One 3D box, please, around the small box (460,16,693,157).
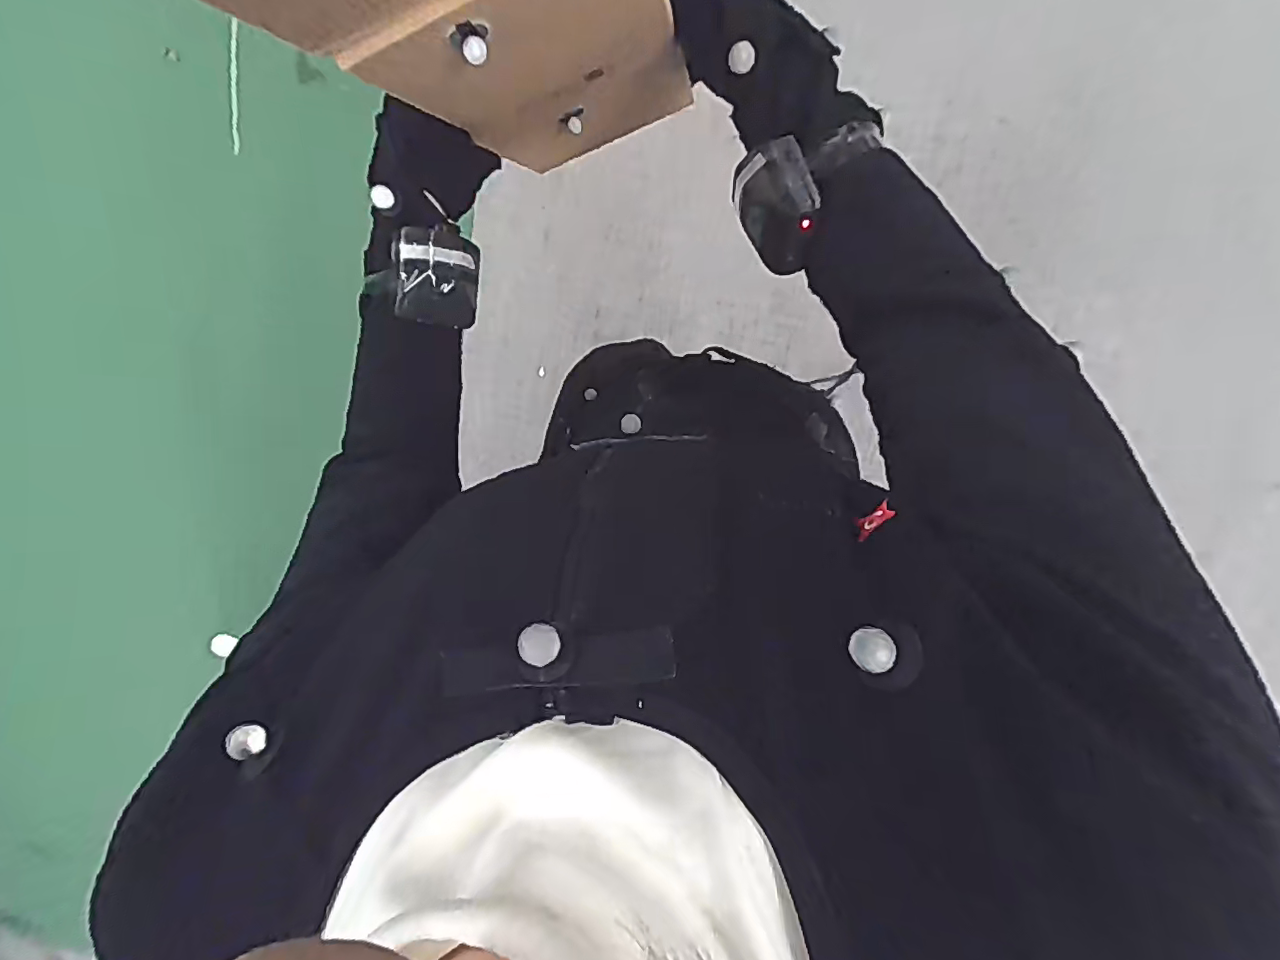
[{"bbox_3d":[-0.063,-0.400,0.455,0.179,0.176,0.168,-14,108,14],"label":"small box"}]
